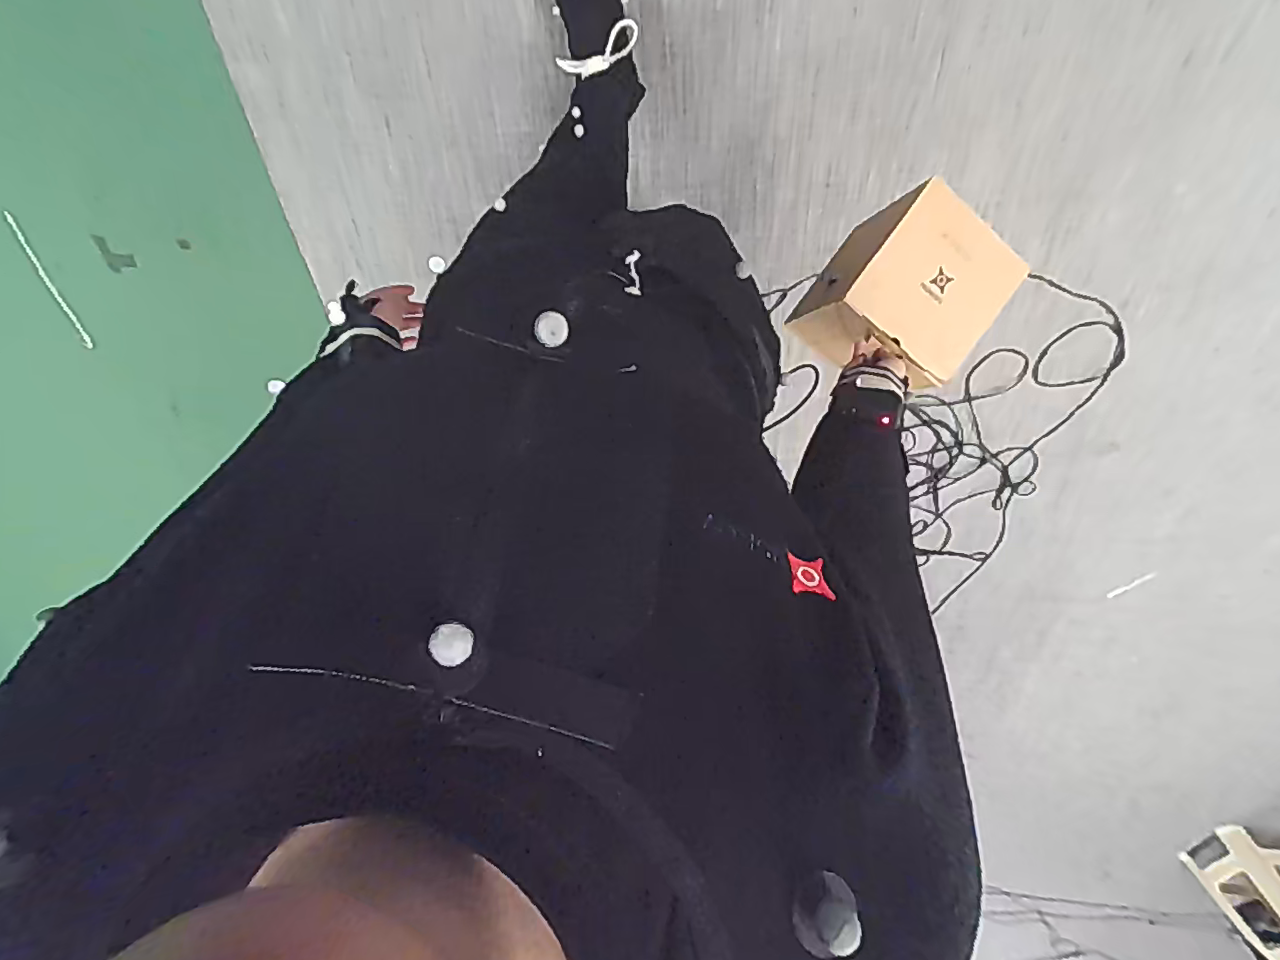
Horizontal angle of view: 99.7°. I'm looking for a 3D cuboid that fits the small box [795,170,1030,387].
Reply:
[{"bbox_3d":[0.323,-0.234,0.685,0.168,0.176,0.179,37,89,-12],"label":"small box"}]
